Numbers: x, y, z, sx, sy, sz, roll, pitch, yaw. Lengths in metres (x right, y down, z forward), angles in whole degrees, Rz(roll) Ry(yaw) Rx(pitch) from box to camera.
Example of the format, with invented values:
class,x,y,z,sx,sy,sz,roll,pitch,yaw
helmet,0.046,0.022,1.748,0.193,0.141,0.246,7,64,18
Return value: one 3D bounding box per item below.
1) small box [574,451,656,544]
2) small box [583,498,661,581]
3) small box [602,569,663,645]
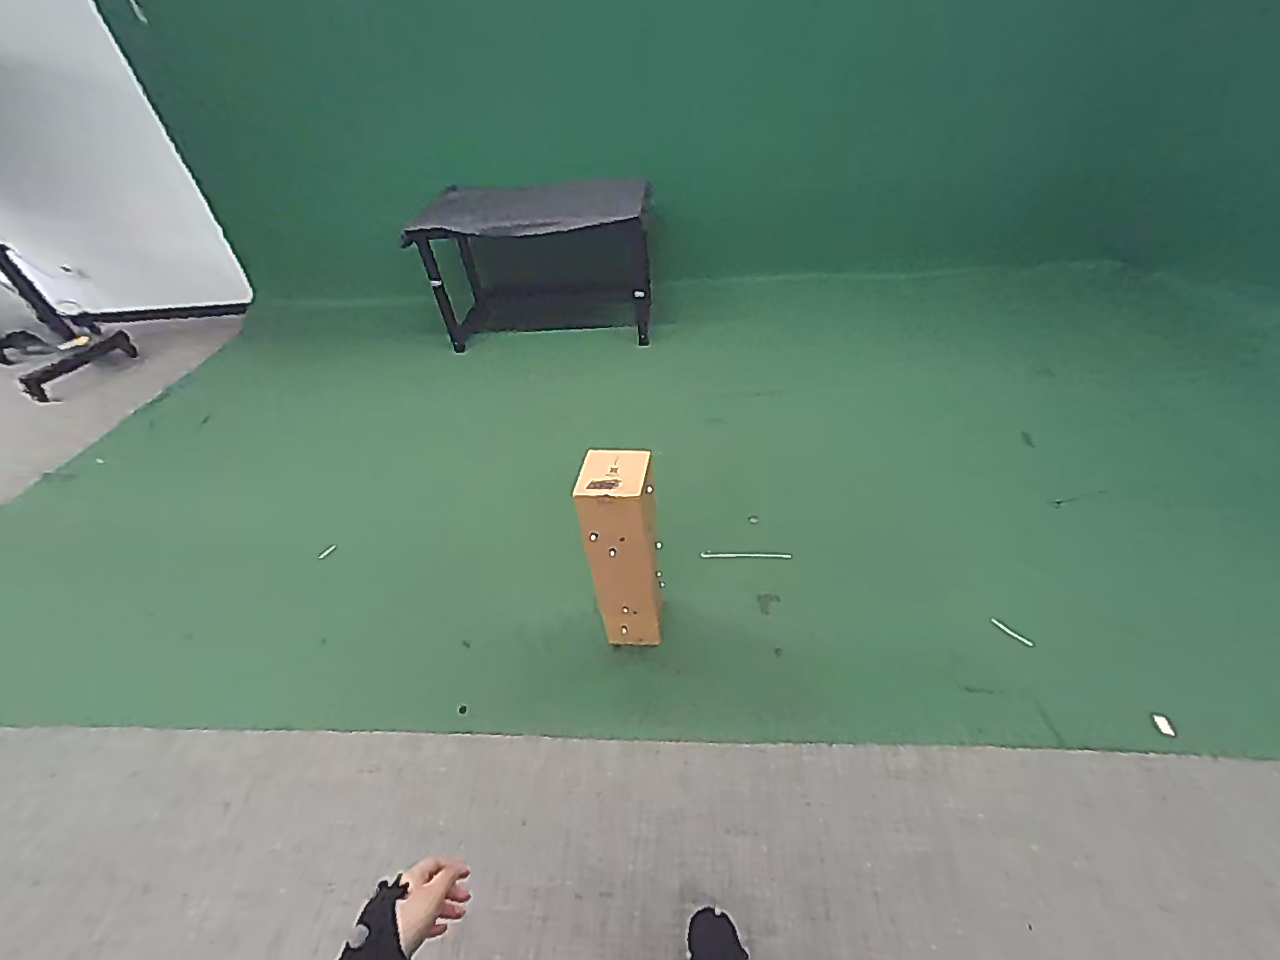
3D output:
class,x,y,z,sx,sy,sz,roll,pitch,yaw
small box,-0.055,0.045,1.365,0.168,0.176,0.179,2,41,11
small box,-0.043,0.160,1.482,0.179,0.176,0.168,1,43,9
small box,-0.016,0.402,1.703,0.168,0.176,0.179,-1,41,7
